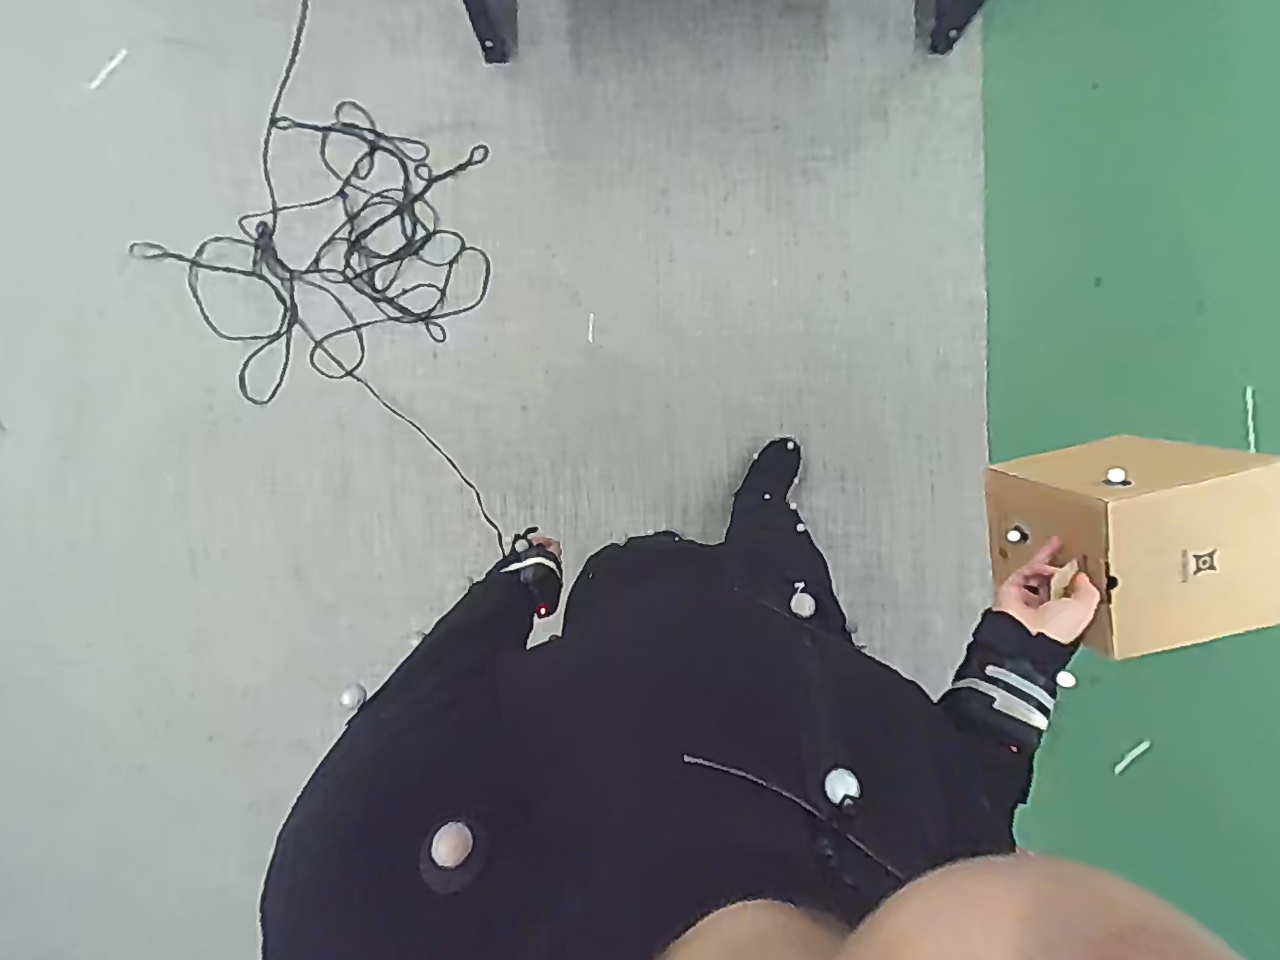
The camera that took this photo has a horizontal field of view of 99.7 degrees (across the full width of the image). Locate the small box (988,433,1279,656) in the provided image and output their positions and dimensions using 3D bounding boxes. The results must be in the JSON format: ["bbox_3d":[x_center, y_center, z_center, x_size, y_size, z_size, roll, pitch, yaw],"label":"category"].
[{"bbox_3d":[0.515,0.054,0.575,0.179,0.176,0.168,-14,102,1],"label":"small box"}]
